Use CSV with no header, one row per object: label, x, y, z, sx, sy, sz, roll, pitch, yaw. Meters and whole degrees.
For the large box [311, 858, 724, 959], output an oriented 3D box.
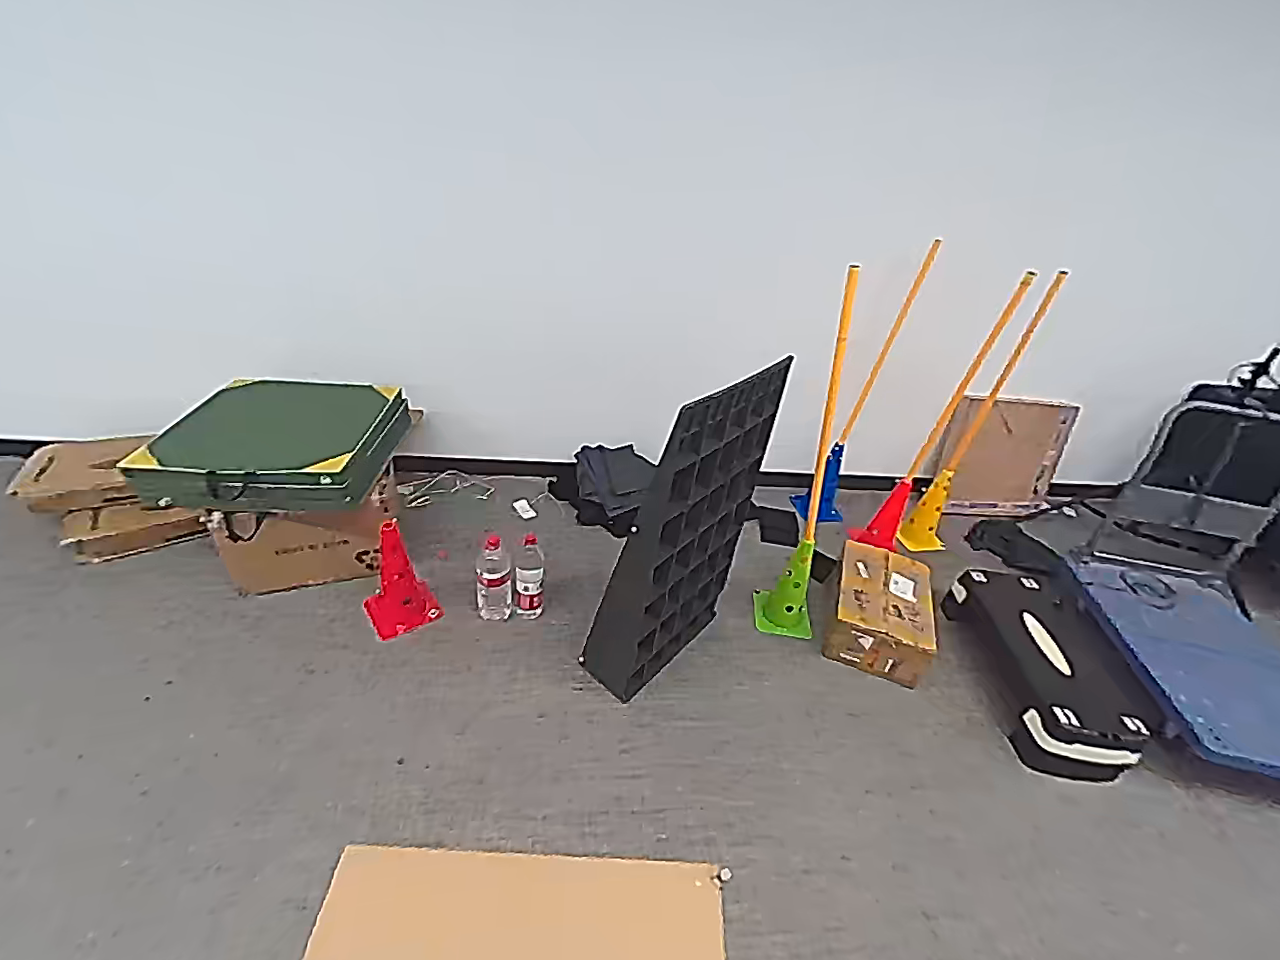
large box,-0.129,0.627,0.565,0.408,0.320,0.320,5,42,-3
